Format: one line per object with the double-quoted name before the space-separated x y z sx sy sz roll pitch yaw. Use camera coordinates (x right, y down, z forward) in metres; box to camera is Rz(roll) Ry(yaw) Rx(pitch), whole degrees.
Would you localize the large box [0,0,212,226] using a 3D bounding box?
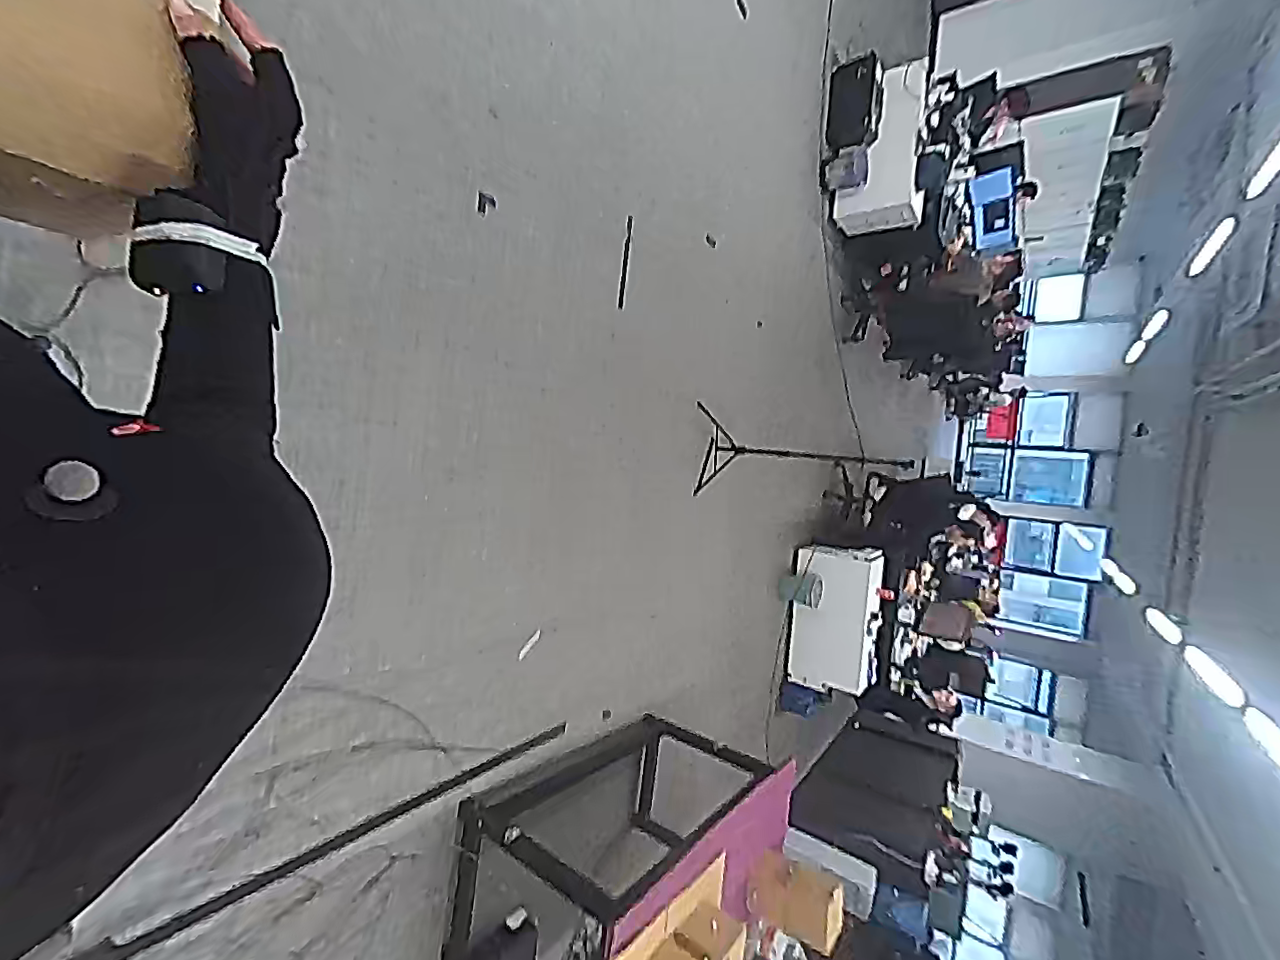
"large box" -0.570 -0.405 0.342 0.408 0.320 0.320 4 98 -56
